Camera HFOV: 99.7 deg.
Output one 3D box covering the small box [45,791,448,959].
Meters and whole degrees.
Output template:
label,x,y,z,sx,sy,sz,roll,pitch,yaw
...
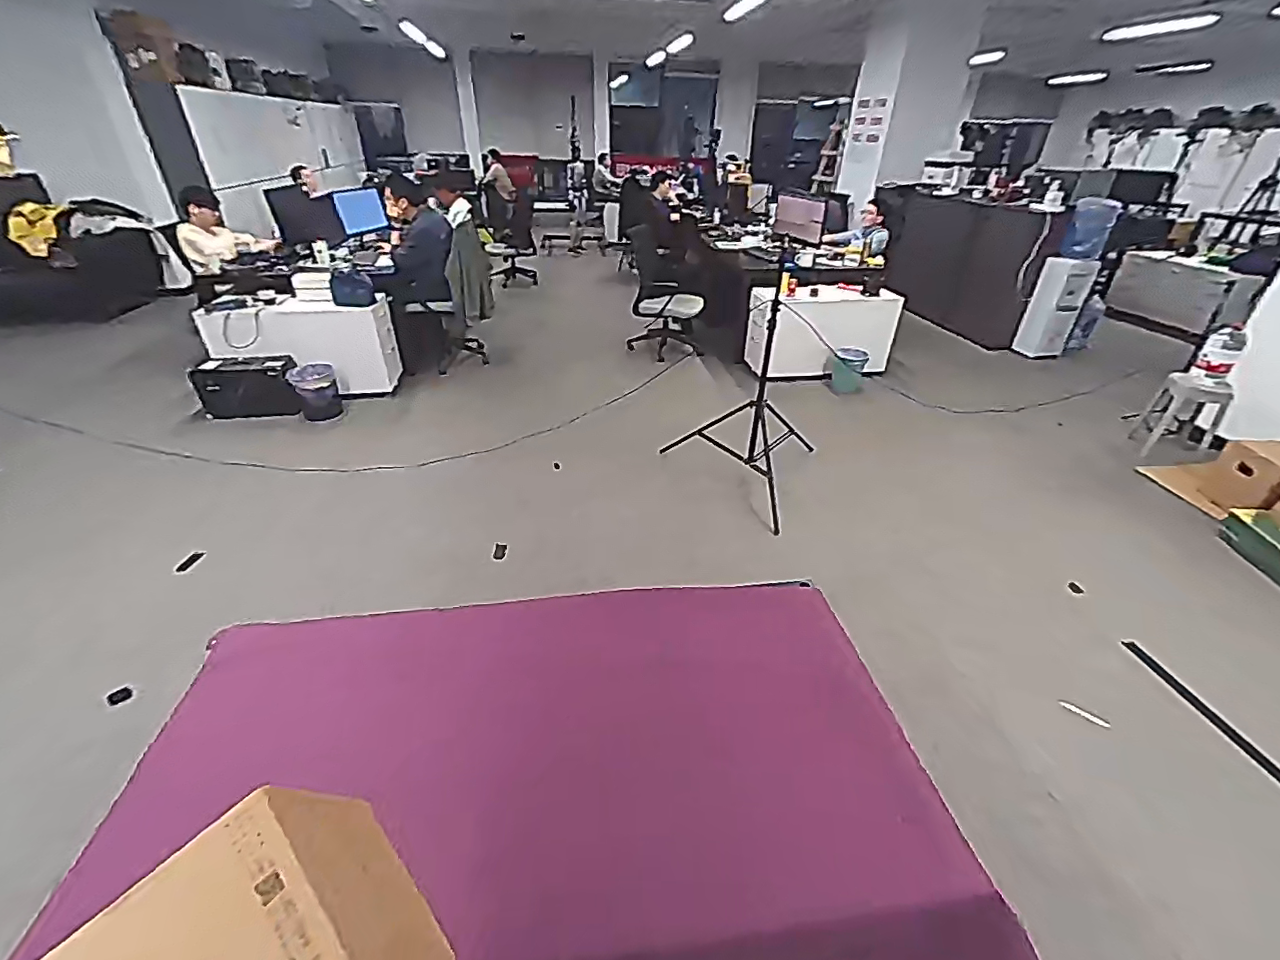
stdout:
label,x,y,z,sx,sy,sz,roll,pitch,yaw
small box,-0.264,0.344,0.369,0.176,0.179,0.168,-39,64,-23
